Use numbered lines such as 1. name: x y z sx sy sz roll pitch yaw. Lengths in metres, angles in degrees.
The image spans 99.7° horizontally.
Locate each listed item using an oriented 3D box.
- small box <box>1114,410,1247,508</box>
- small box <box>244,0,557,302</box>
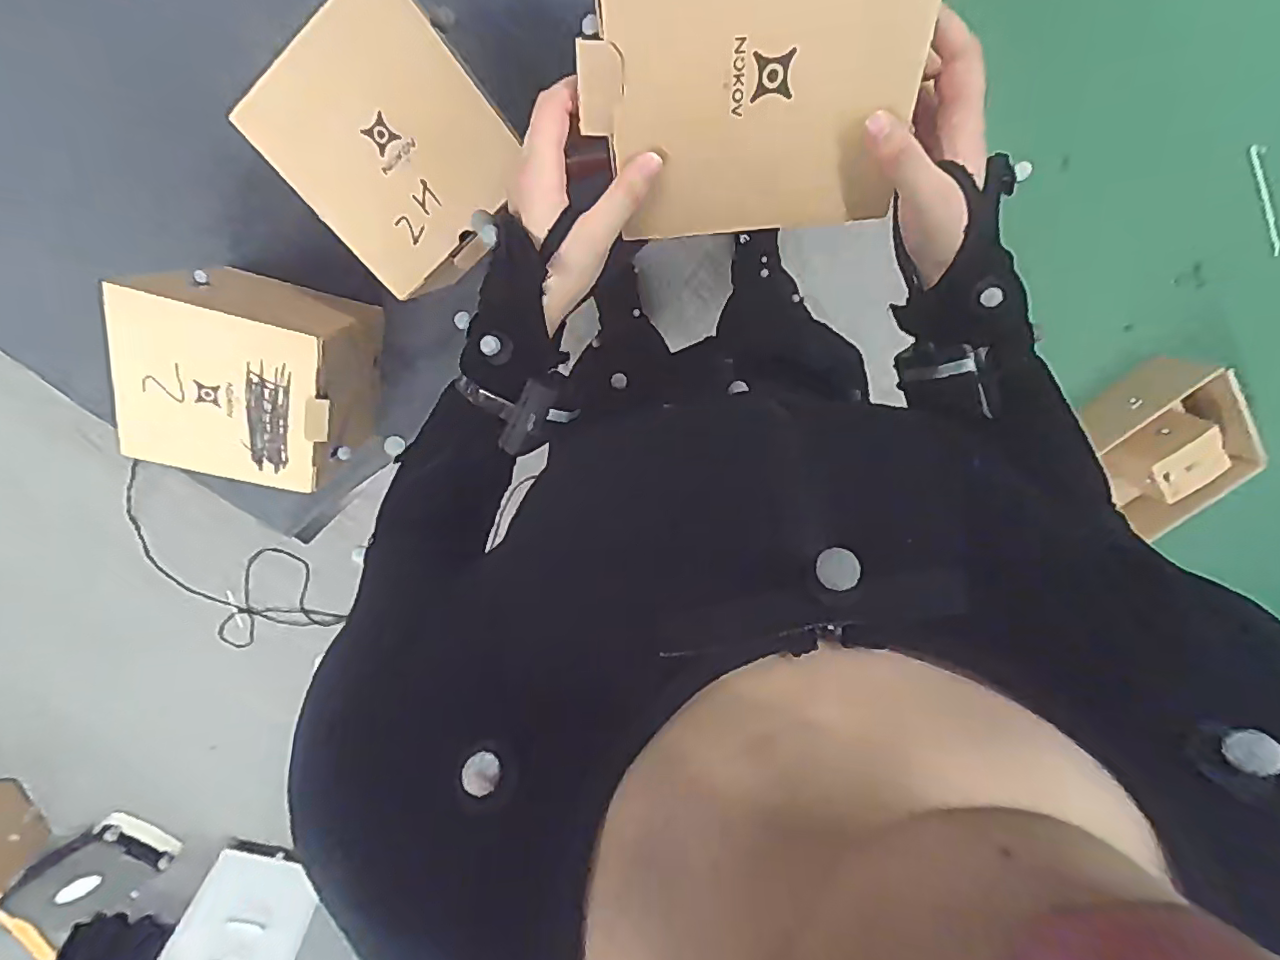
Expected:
1. small box: 1.474 -0.063 1.482 0.179 0.176 0.168 -40 113 15
2. small box: -0.197 -0.294 0.504 0.168 0.176 0.179 -36 112 13
